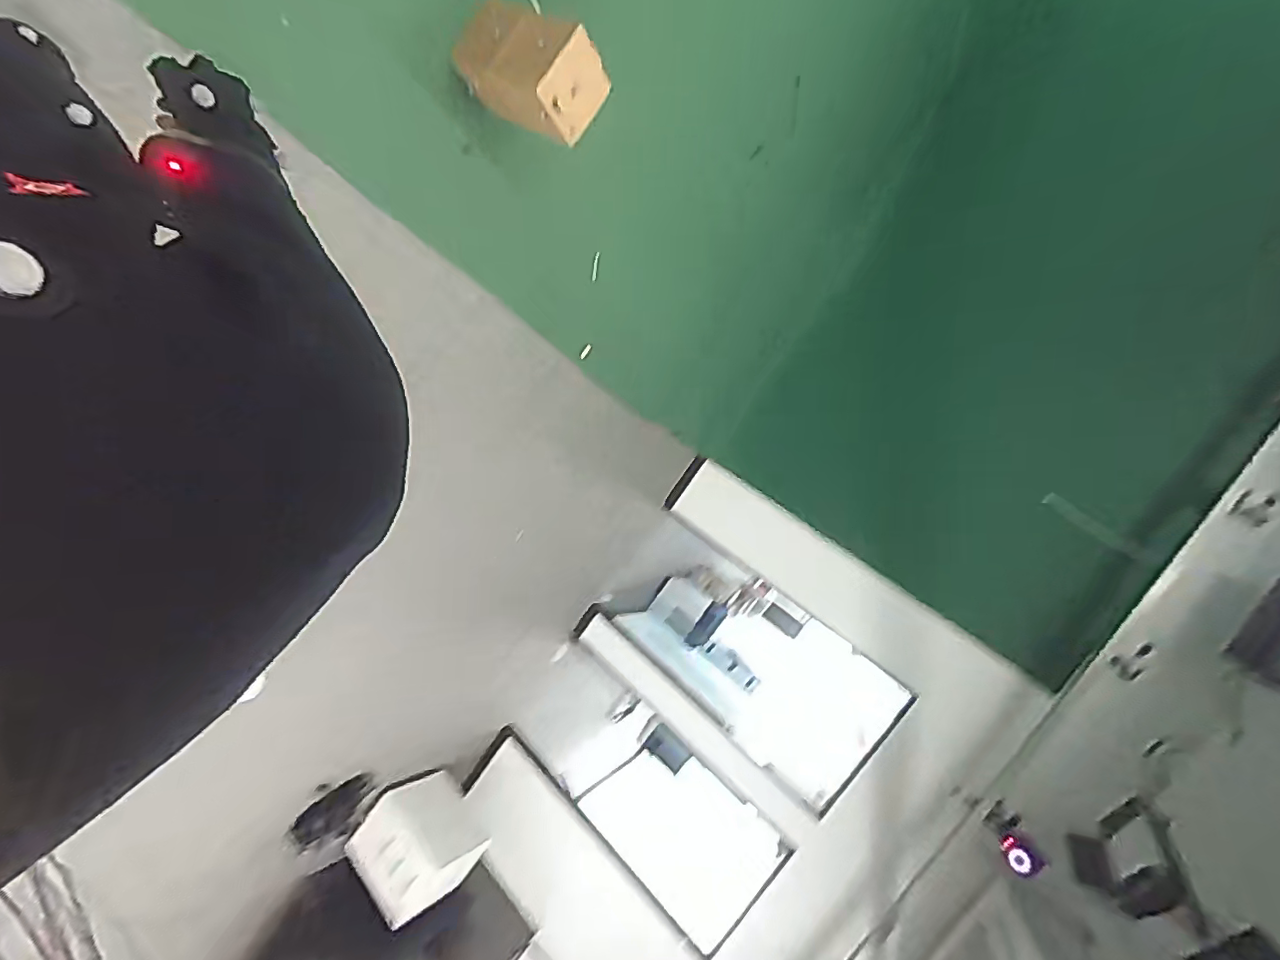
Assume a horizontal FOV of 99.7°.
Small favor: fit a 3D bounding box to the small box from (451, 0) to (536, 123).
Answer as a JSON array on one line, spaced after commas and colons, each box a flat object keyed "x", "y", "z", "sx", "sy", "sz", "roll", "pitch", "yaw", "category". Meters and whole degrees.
[{"x": -0.323, "y": -1.030, "z": 1.319, "sx": 0.179, "sy": 0.176, "sz": 0.168, "roll": -54, "pitch": 154, "yaw": 2, "category": "small box"}]

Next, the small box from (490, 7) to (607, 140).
[{"x": -0.214, "y": -0.950, "z": 1.263, "sx": 0.179, "sy": 0.176, "sz": 0.168, "roll": -55, "pitch": 156, "yaw": 3, "category": "small box"}]
